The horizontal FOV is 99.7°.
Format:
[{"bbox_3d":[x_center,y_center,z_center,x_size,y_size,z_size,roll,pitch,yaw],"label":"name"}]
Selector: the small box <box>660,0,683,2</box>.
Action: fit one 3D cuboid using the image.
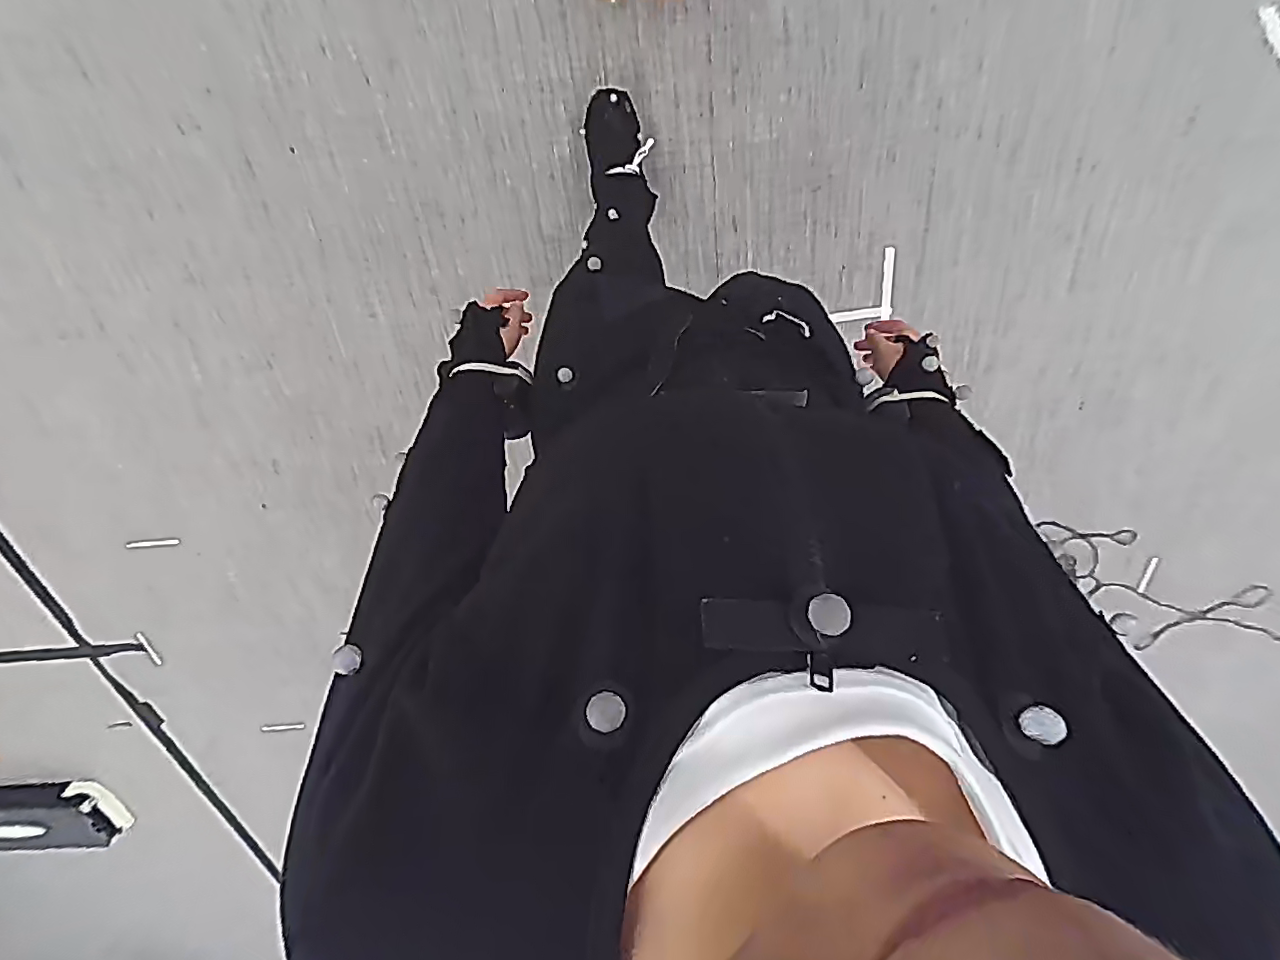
[{"bbox_3d":[0.009,-0.913,0.878,0.168,0.176,0.179,1,118,-1],"label":"small box"}]
